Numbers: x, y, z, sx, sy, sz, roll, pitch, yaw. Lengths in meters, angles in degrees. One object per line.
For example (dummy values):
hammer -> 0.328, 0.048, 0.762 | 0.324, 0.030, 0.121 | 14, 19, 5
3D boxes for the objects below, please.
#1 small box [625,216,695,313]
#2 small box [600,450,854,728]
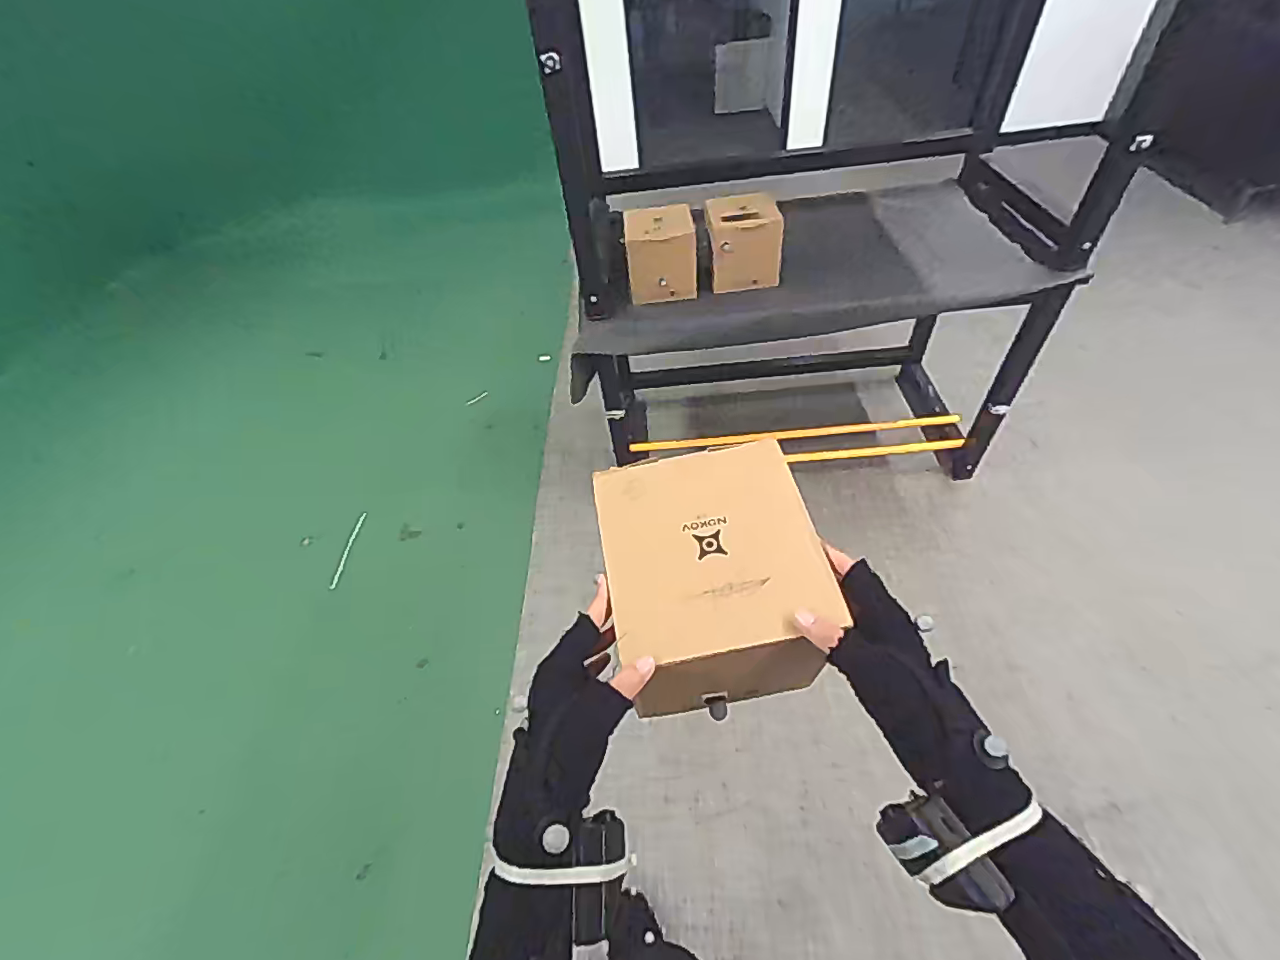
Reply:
small box -> 0.050, -0.549, 1.382 | 0.168, 0.176, 0.179 | -6, 48, 2
small box -> 0.062, 0.101, 0.485 | 0.168, 0.176, 0.179 | -10, 54, -2
